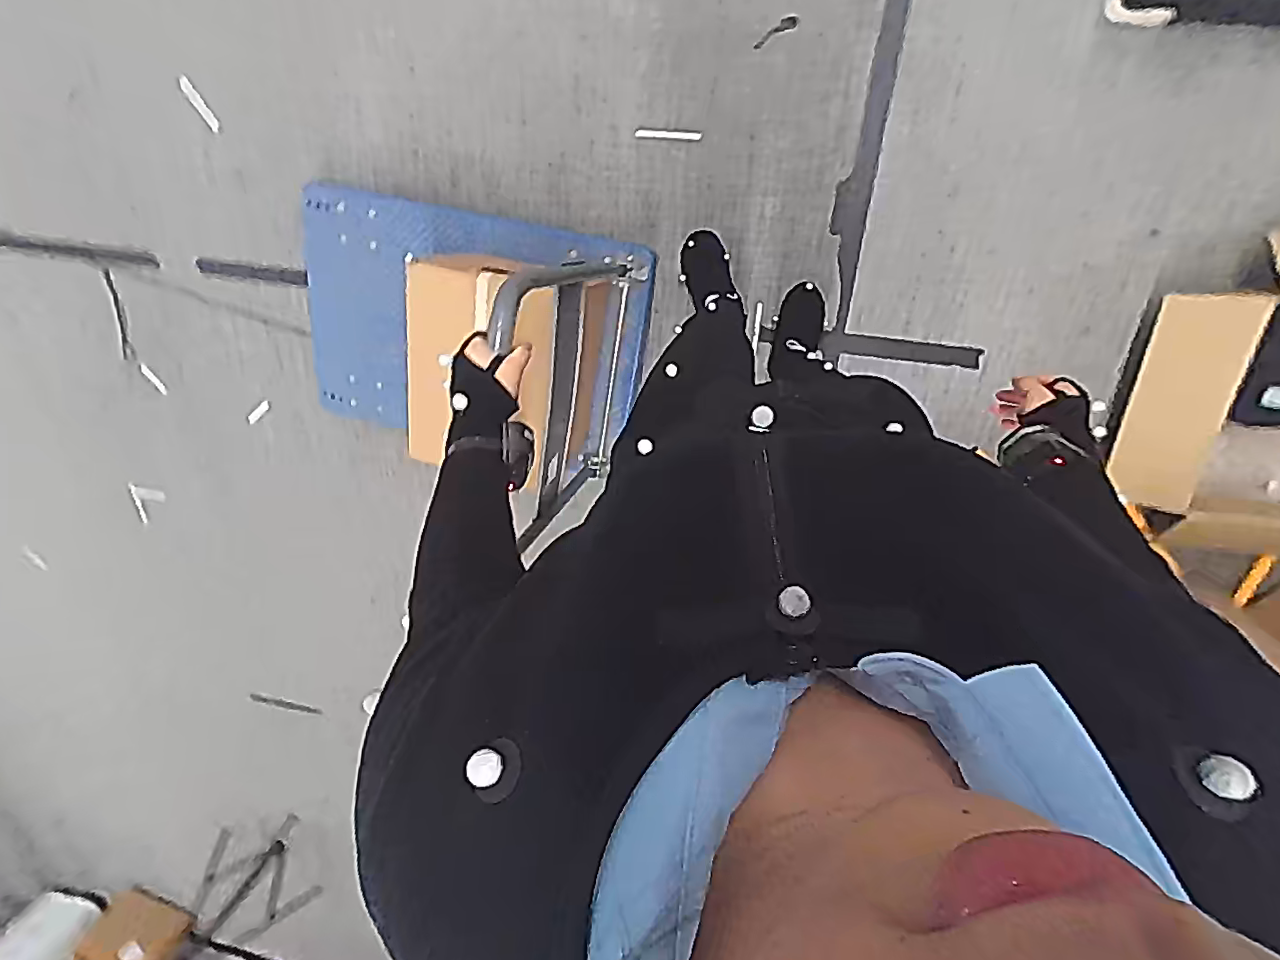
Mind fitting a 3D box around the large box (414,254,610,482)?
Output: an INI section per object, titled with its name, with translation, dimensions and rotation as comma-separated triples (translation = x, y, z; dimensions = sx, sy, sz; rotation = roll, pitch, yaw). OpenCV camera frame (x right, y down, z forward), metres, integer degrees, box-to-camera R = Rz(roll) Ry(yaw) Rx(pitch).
[large box]
translation = -0.274, -0.260, 1.202
dimensions = 0.320, 0.320, 0.408
rotation = 14, 115, 6
